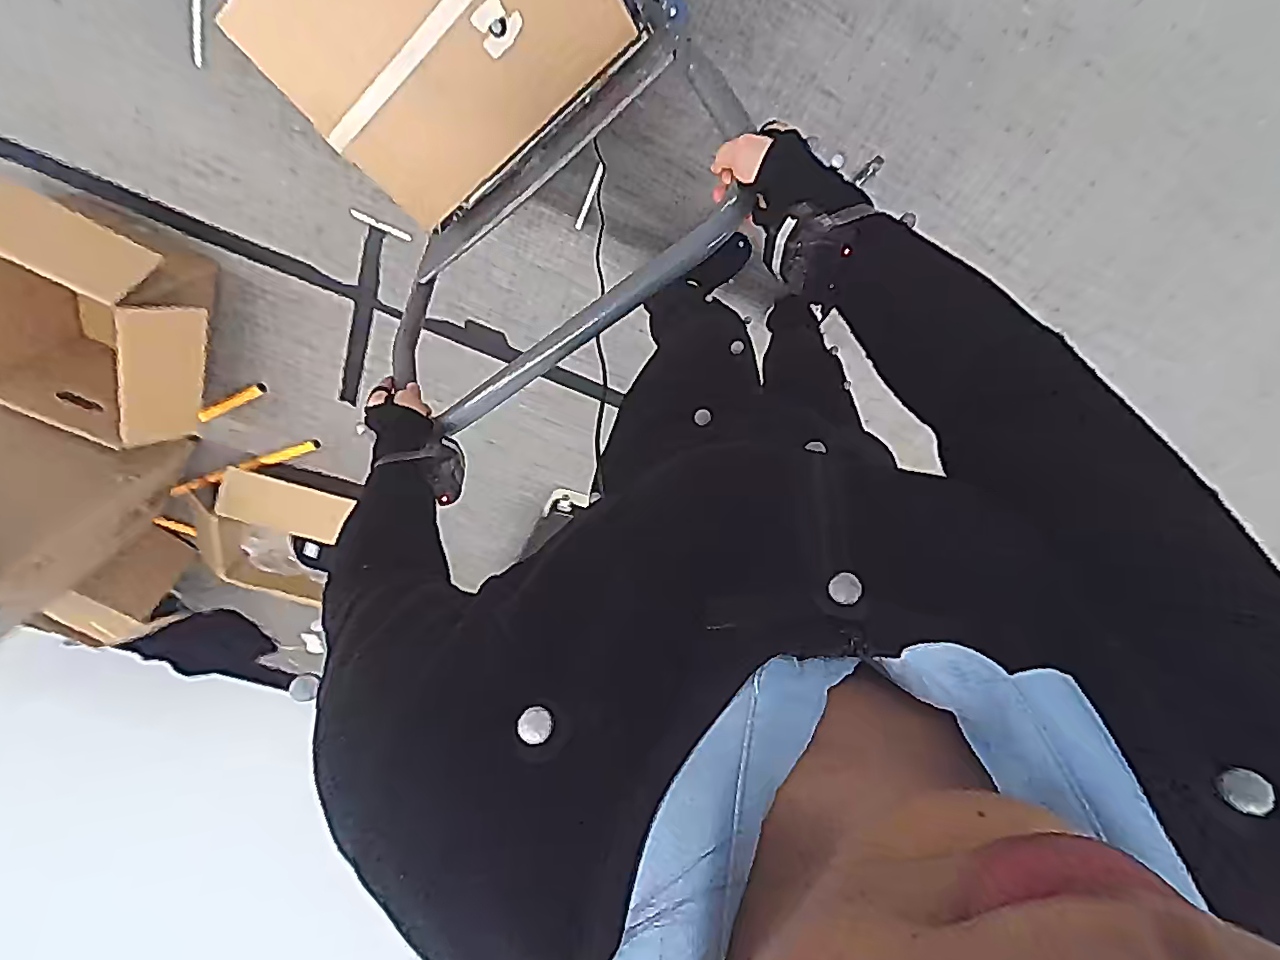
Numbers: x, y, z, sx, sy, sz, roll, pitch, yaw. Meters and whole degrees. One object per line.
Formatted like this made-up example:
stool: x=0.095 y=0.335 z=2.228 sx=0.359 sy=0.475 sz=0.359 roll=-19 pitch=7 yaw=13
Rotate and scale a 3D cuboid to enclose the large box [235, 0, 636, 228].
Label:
large box: x=-0.260 y=-0.663 z=0.772 sx=0.408 sy=0.320 sz=0.320 roll=-31 pitch=131 yaw=22
